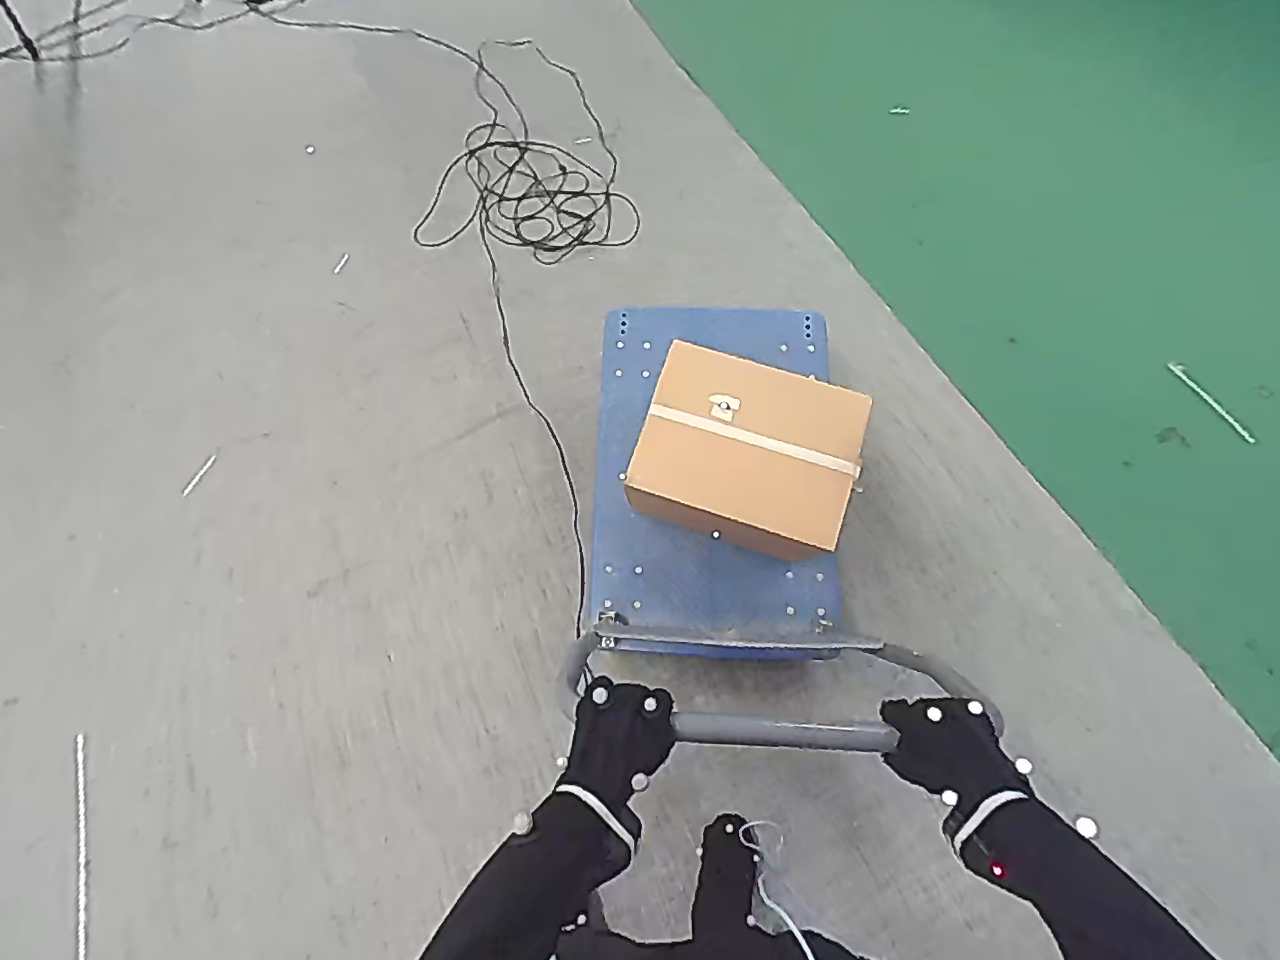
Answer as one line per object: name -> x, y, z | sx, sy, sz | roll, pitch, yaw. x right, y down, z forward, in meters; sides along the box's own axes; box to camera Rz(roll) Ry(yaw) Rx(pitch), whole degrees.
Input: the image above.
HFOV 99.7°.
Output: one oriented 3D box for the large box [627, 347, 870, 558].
large box -> 0.219, -0.039, 1.166 | 0.408, 0.320, 0.320 | 17, 78, 7
